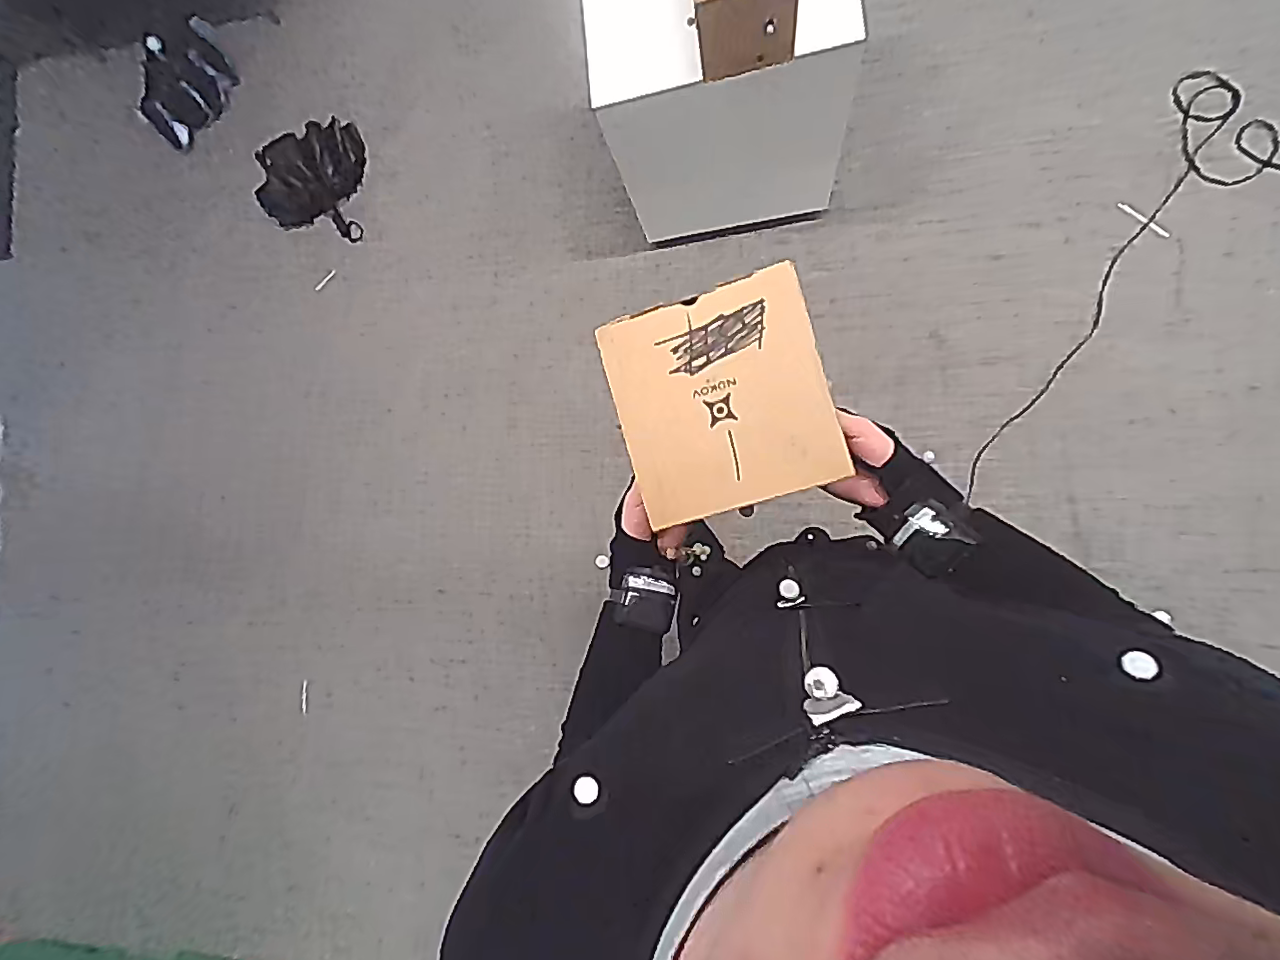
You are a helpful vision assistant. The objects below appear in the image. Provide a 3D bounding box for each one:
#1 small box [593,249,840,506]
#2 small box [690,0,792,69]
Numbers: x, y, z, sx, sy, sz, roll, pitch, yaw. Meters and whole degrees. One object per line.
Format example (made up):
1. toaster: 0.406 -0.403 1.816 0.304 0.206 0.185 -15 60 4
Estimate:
1. small box: 0.071 -0.079 0.510 0.168 0.176 0.179 -15 88 11
2. small box: 0.167 -0.846 0.919 0.168 0.176 0.179 -7 84 10
